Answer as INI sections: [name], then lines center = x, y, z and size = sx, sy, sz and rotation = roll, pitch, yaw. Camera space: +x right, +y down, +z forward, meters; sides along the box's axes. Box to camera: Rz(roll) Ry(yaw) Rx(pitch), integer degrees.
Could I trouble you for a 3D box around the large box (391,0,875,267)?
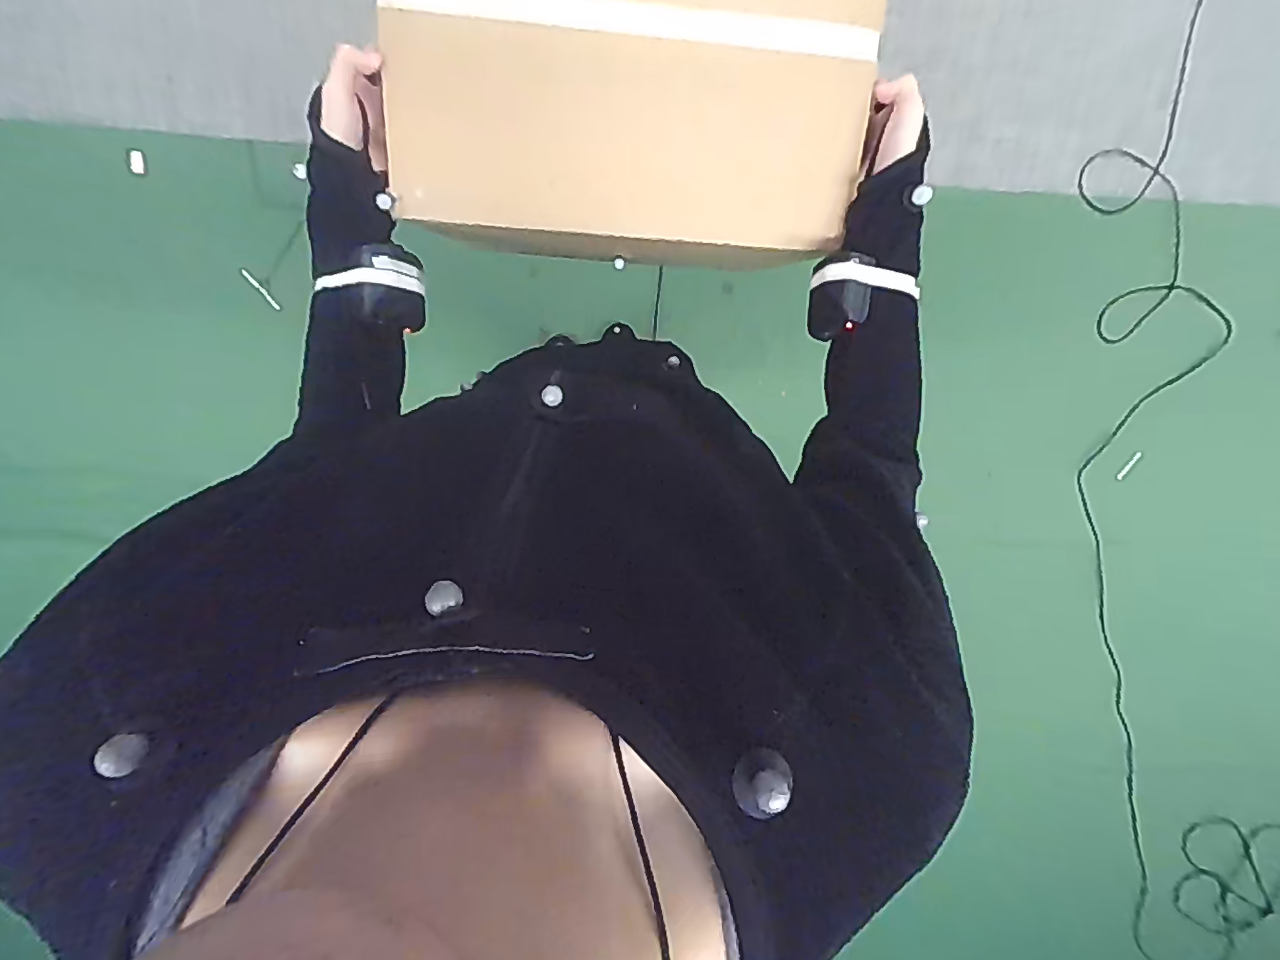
[large box]
center = -0.011, -0.412, 0.592
size = 0.408, 0.320, 0.320
rotation = 3, 107, -5
